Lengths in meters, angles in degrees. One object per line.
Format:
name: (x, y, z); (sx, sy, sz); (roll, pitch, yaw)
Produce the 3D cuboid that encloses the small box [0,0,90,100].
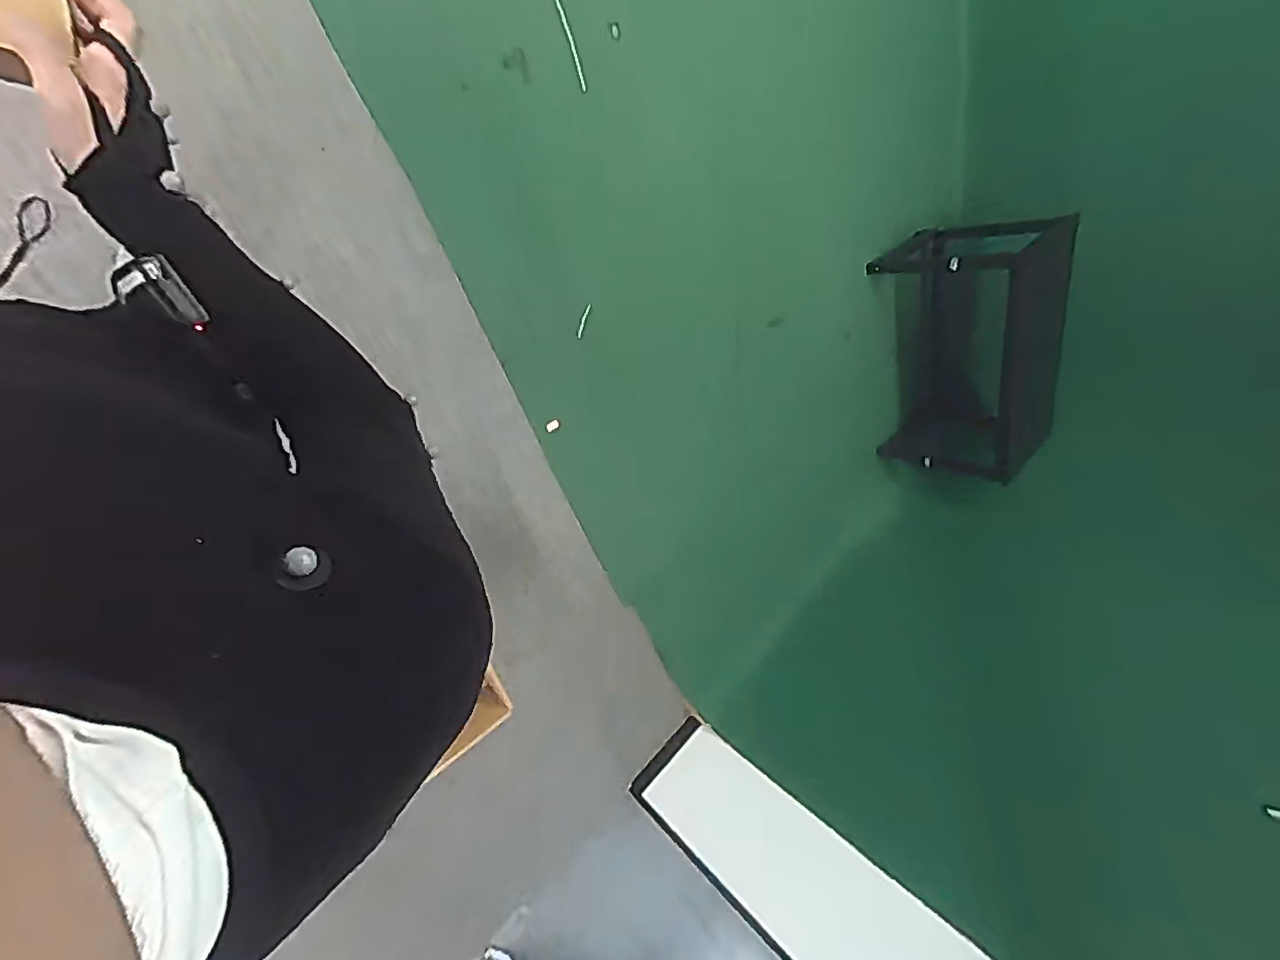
small box: (-0.514, -0.399, 0.375); (0.168, 0.176, 0.179); (-9, 116, -40)
